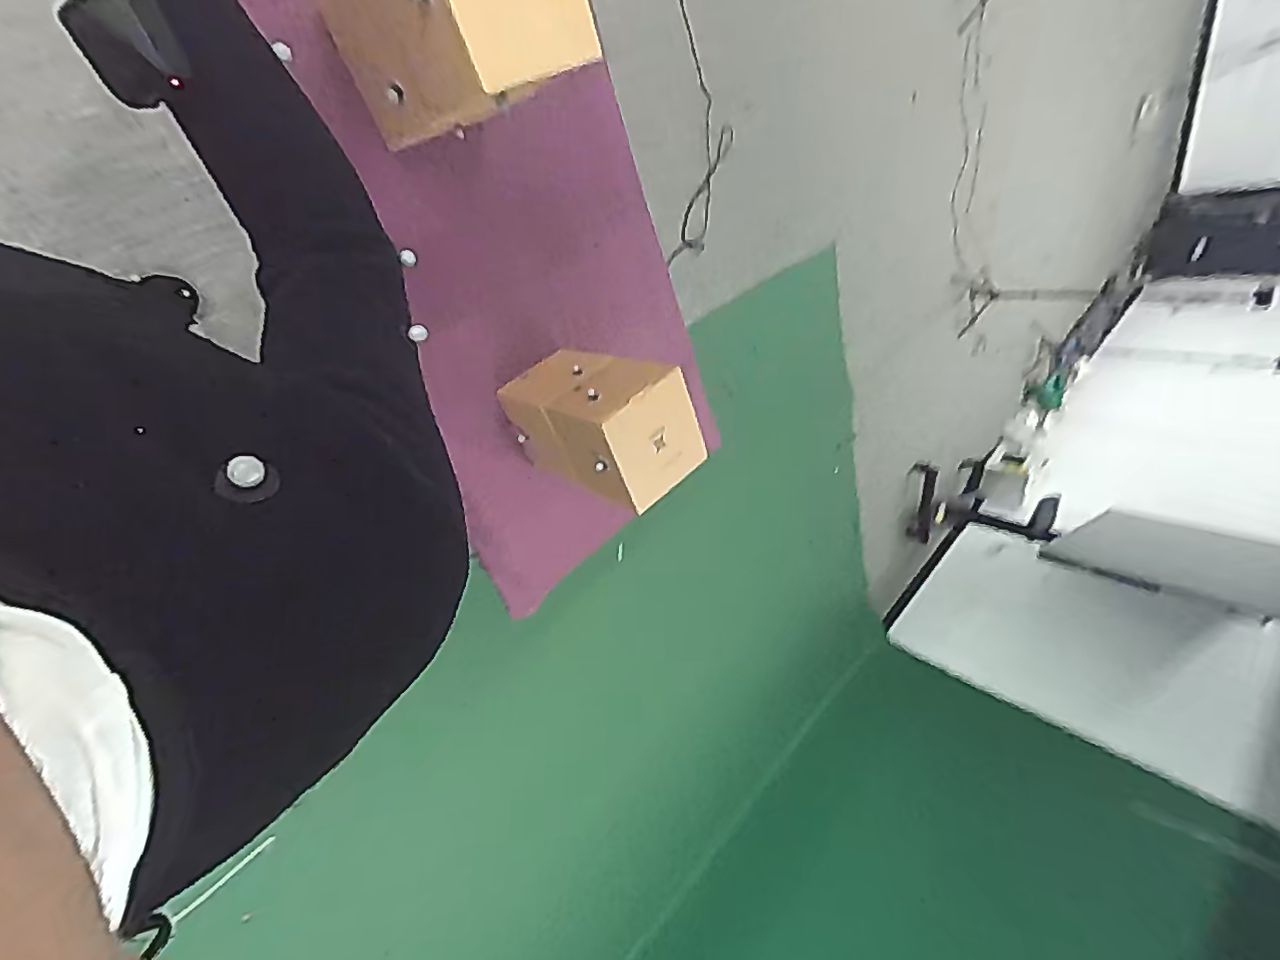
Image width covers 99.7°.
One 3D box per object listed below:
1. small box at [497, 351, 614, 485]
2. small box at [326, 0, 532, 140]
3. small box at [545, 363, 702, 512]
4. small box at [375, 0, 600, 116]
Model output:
[{"bbox_3d":[-0.134,-0.123,1.006,0.168,0.176,0.179,-39,127,-24],"label":"small box"},{"bbox_3d":[-0.278,-0.574,0.717,0.168,0.176,0.179,-38,127,-25],"label":"small box"},{"bbox_3d":[-0.029,-0.080,0.888,0.168,0.176,0.179,-37,126,-24],"label":"small box"},{"bbox_3d":[-0.178,-0.529,0.598,0.168,0.176,0.179,-38,126,-25],"label":"small box"}]
